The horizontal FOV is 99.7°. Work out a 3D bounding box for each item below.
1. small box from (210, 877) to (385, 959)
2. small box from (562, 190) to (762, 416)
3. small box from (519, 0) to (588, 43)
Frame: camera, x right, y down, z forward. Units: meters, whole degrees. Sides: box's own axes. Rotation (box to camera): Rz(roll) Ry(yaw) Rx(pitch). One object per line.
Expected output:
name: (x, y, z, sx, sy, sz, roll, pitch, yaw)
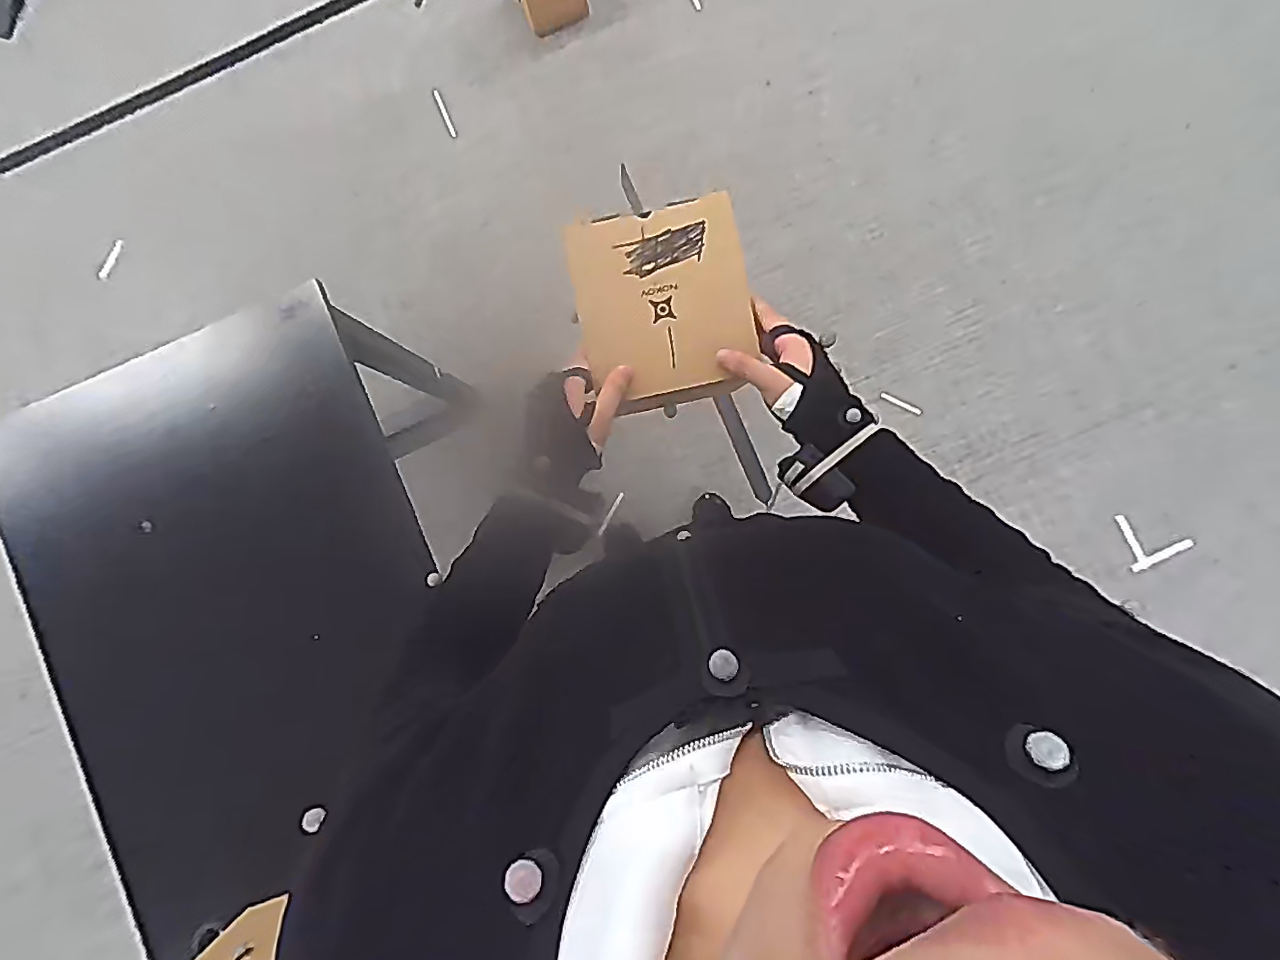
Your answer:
small box: (-0.454, 0.661, 0.694, 0.179, 0.176, 0.168, -21, 86, 2)
small box: (0.021, -0.176, 0.592, 0.168, 0.176, 0.179, -12, 92, 1)
small box: (-0.256, -1.394, 1.517, 0.179, 0.176, 0.168, -24, 86, 2)
